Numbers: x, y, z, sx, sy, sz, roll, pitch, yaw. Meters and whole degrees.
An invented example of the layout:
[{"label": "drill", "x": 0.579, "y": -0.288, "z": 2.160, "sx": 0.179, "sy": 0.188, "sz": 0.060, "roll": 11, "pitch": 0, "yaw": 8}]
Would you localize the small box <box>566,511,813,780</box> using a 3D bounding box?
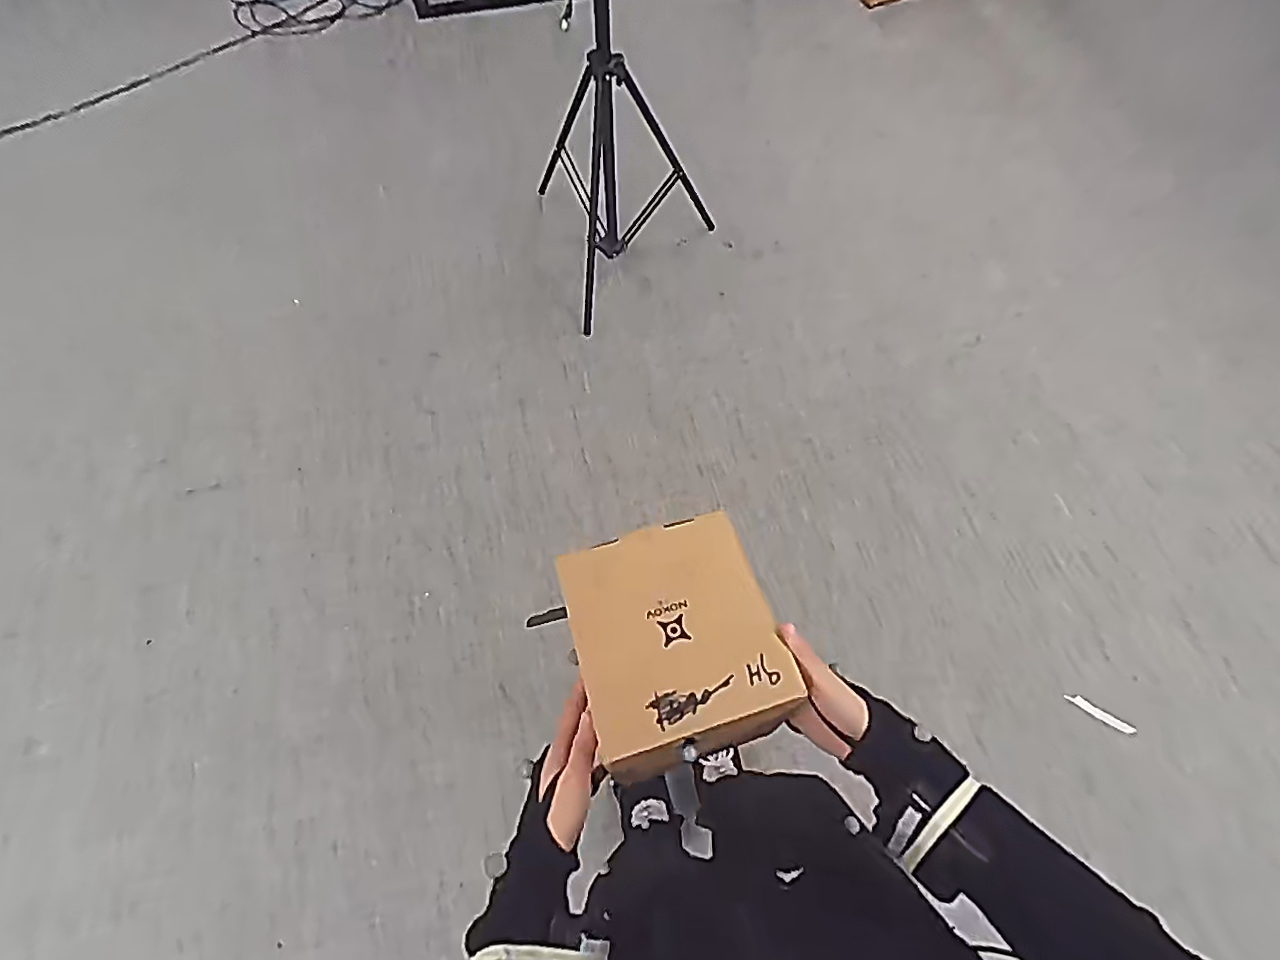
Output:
[{"label": "small box", "x": 0.035, "y": 0.161, "z": 0.515, "sx": 0.168, "sy": 0.176, "sz": 0.179, "roll": -15, "pitch": 57, "yaw": -7}]
